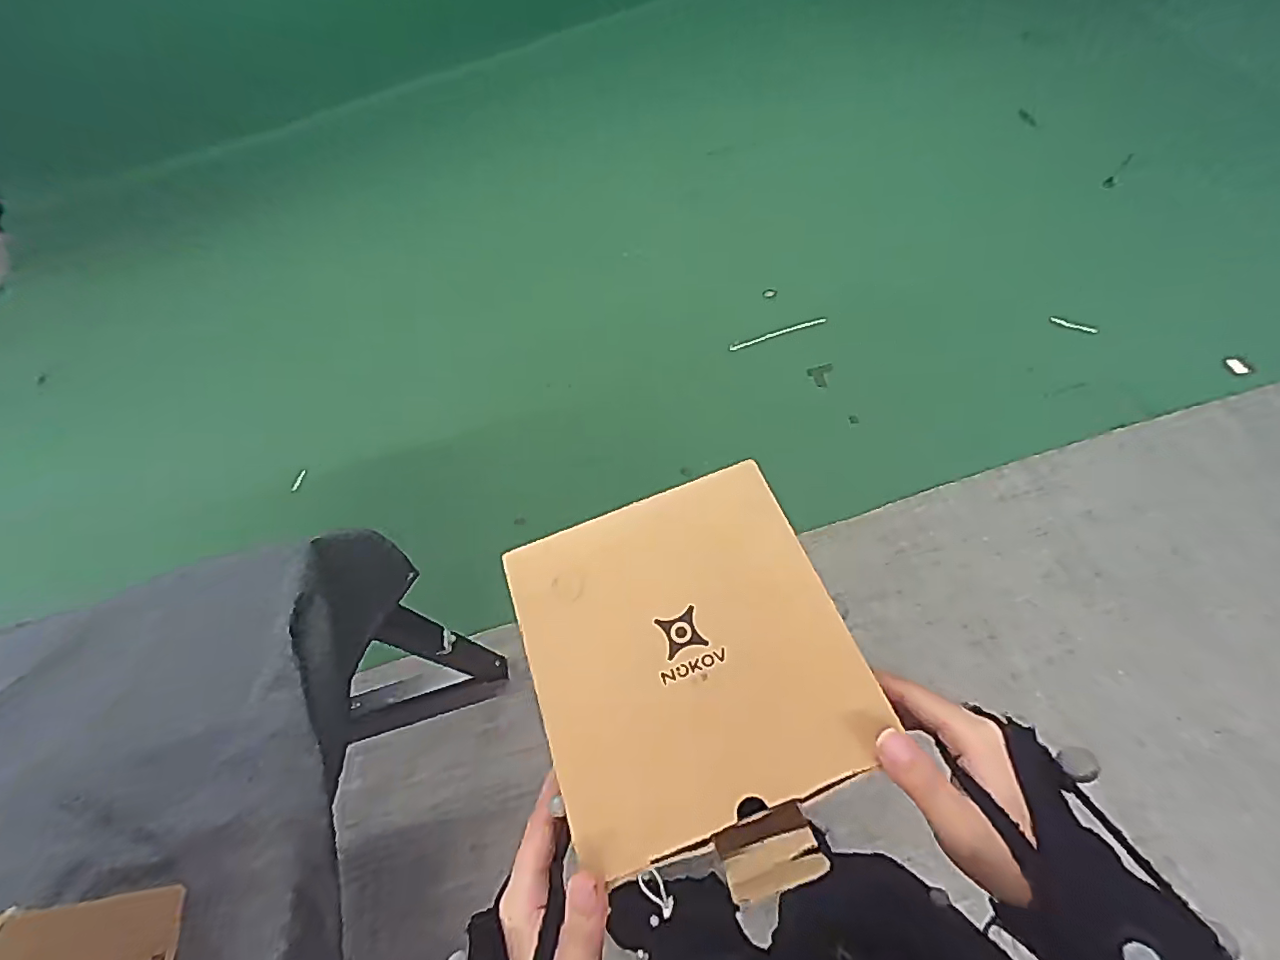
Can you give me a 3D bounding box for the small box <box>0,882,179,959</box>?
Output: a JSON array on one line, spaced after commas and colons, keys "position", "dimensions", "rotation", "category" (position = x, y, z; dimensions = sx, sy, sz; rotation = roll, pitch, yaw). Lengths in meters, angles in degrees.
[{"position": [-0.544, 0.465, 0.451], "dimensions": [0.179, 0.176, 0.168], "rotation": [-17, 60, 1], "category": "small box"}]
